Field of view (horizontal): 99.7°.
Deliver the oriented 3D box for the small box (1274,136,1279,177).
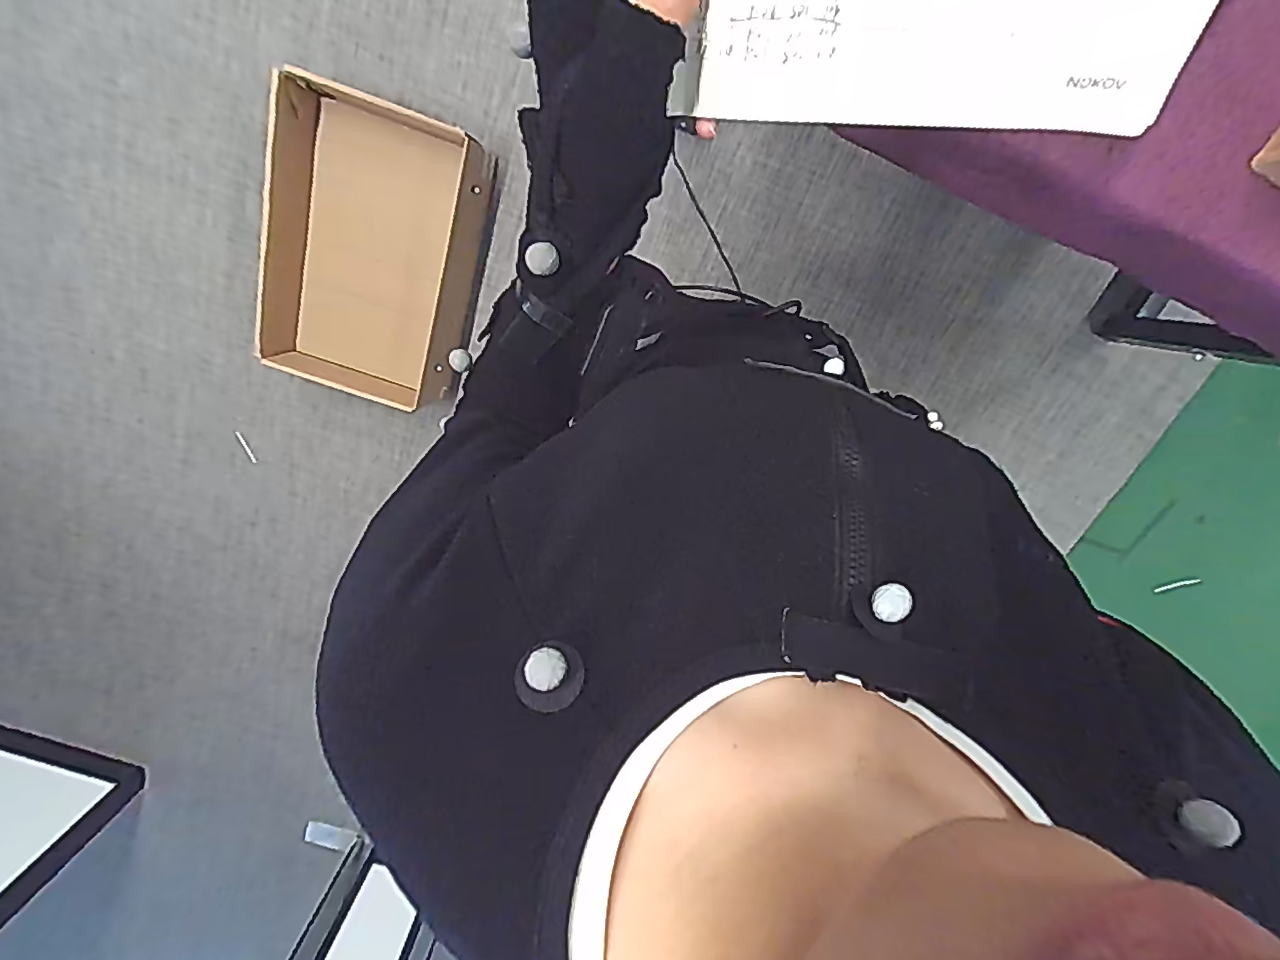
[{"bbox_3d":[0.757,-0.337,0.483,0.168,0.176,0.179,26,111,-6],"label":"small box"}]
